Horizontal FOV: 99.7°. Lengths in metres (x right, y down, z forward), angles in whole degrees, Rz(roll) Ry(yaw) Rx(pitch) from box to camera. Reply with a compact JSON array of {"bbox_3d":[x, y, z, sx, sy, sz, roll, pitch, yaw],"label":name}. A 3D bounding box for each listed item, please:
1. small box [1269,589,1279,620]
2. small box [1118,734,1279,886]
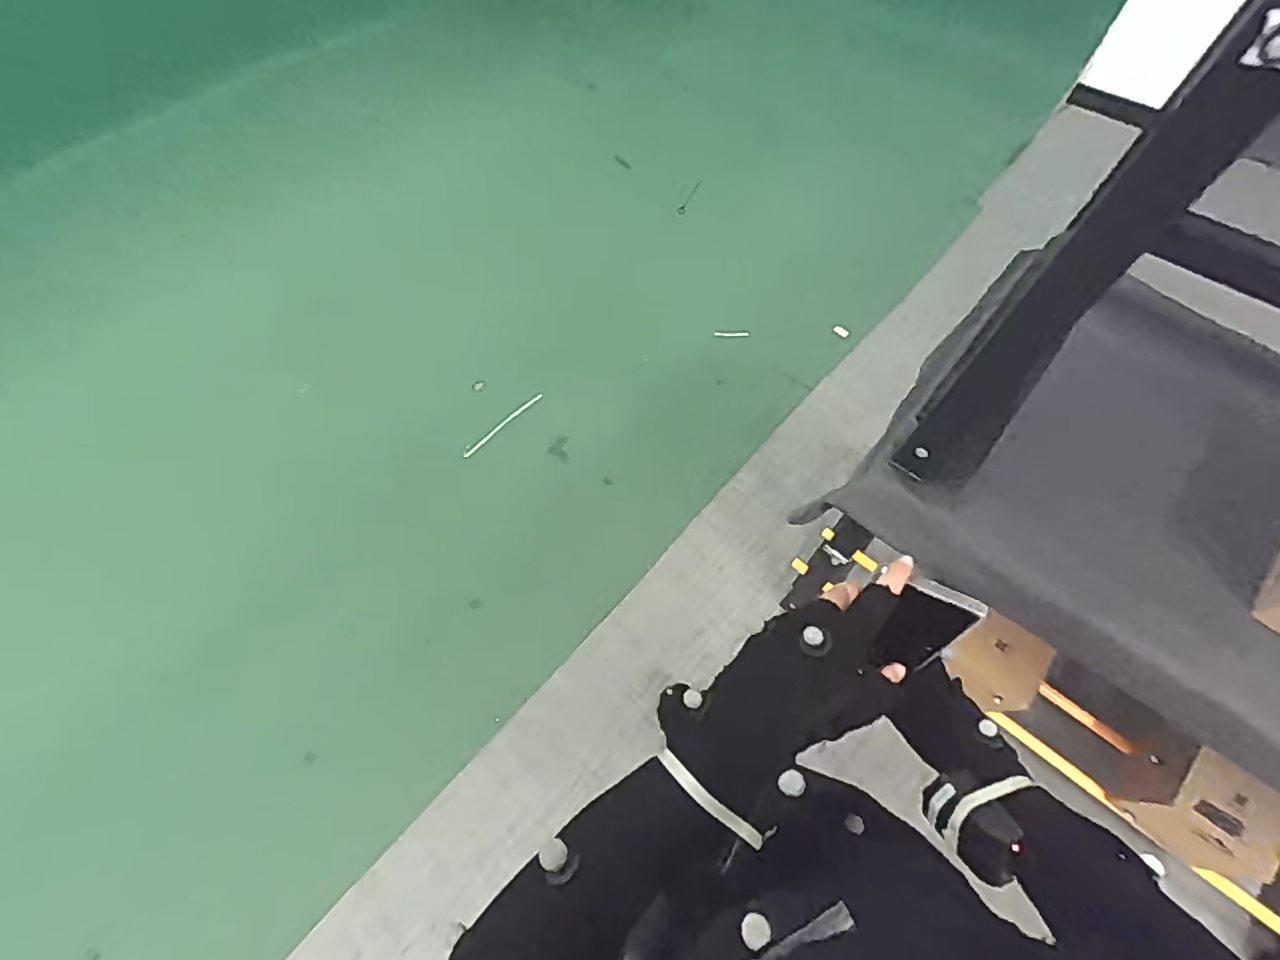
[{"bbox_3d":[0.874,0.128,0.586,0.179,0.176,0.168,41,70,20],"label":"small box"},{"bbox_3d":[1.074,0.615,1.027,0.168,0.176,0.179,41,71,20],"label":"small box"}]
